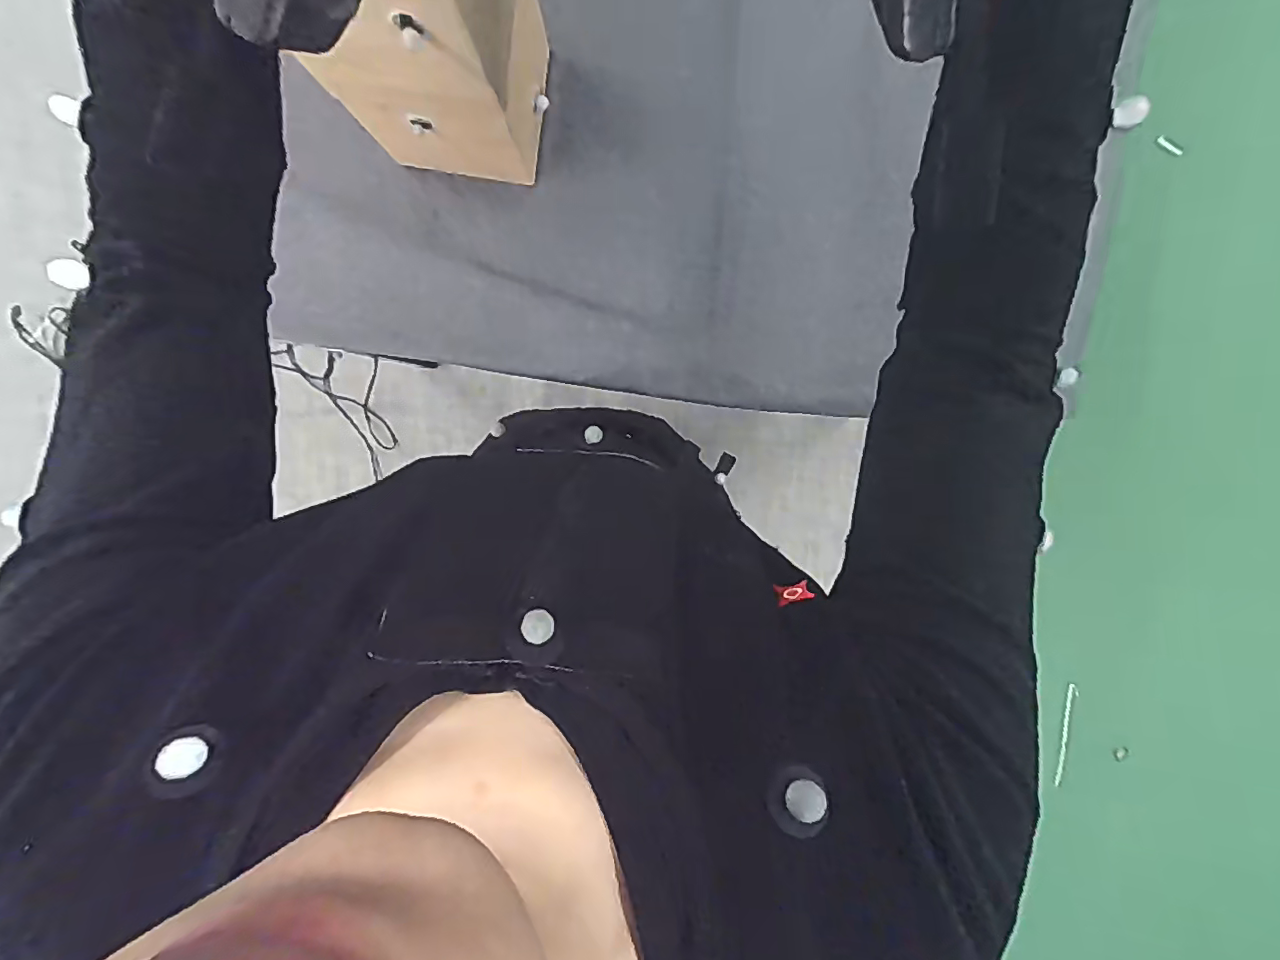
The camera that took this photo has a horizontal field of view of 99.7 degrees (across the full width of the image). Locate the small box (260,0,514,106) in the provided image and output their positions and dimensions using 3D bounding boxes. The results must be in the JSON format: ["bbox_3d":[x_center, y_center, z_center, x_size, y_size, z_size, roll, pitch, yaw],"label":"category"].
[{"bbox_3d":[-0.202,-0.445,0.443,0.179,0.176,0.168,7,96,-2],"label":"small box"}]

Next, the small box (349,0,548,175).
[{"bbox_3d":[-0.210,-0.471,0.606,0.179,0.176,0.168,8,97,-3],"label":"small box"}]
